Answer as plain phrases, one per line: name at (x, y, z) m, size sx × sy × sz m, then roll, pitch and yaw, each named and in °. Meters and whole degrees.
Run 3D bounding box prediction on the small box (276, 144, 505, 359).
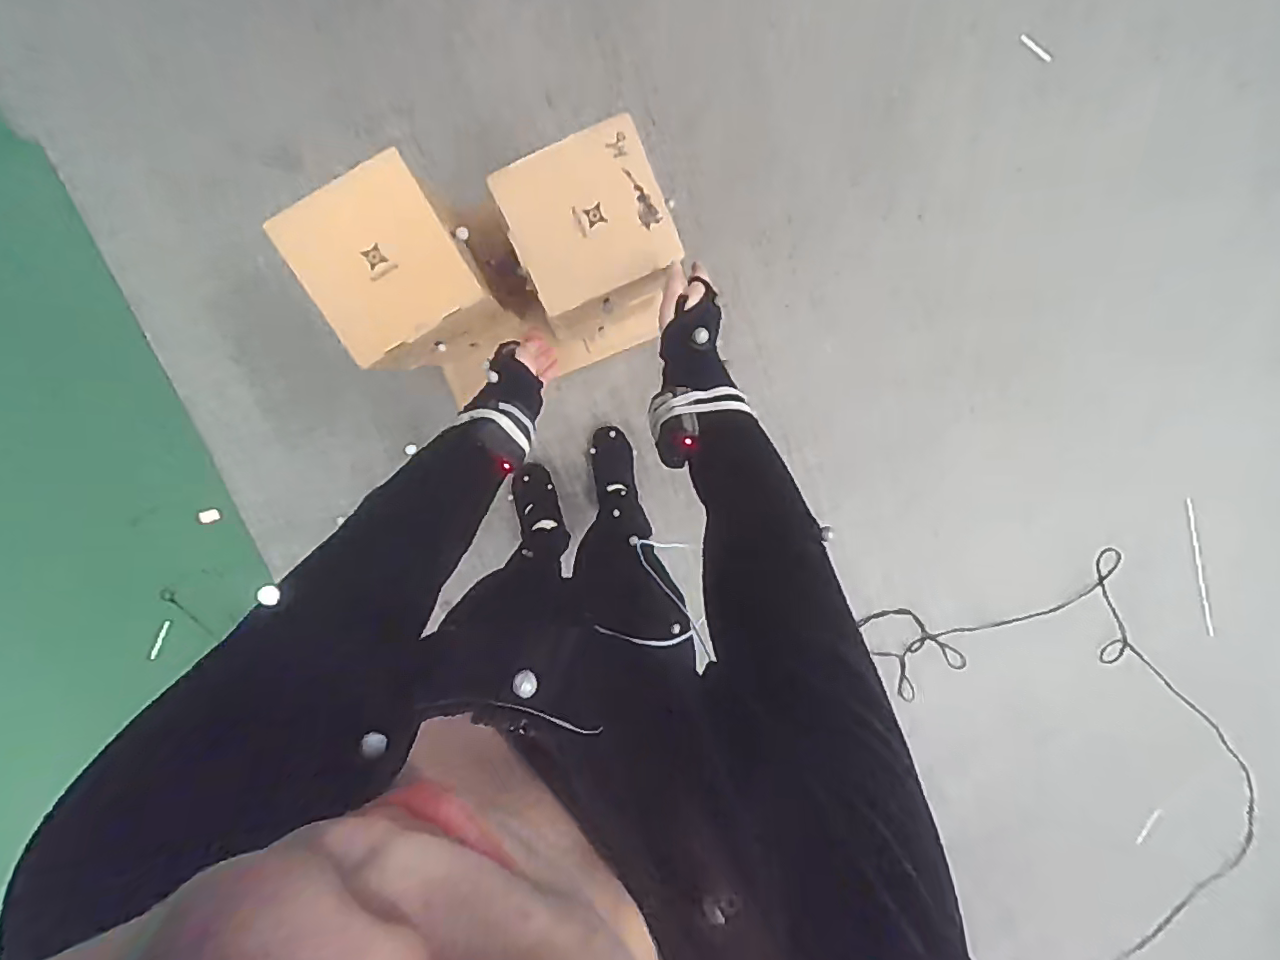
small box at (-0.288, -0.263, 0.671) m, size 0.168 × 0.176 × 0.179 m, roll -30°, pitch 104°, yaw 0°
